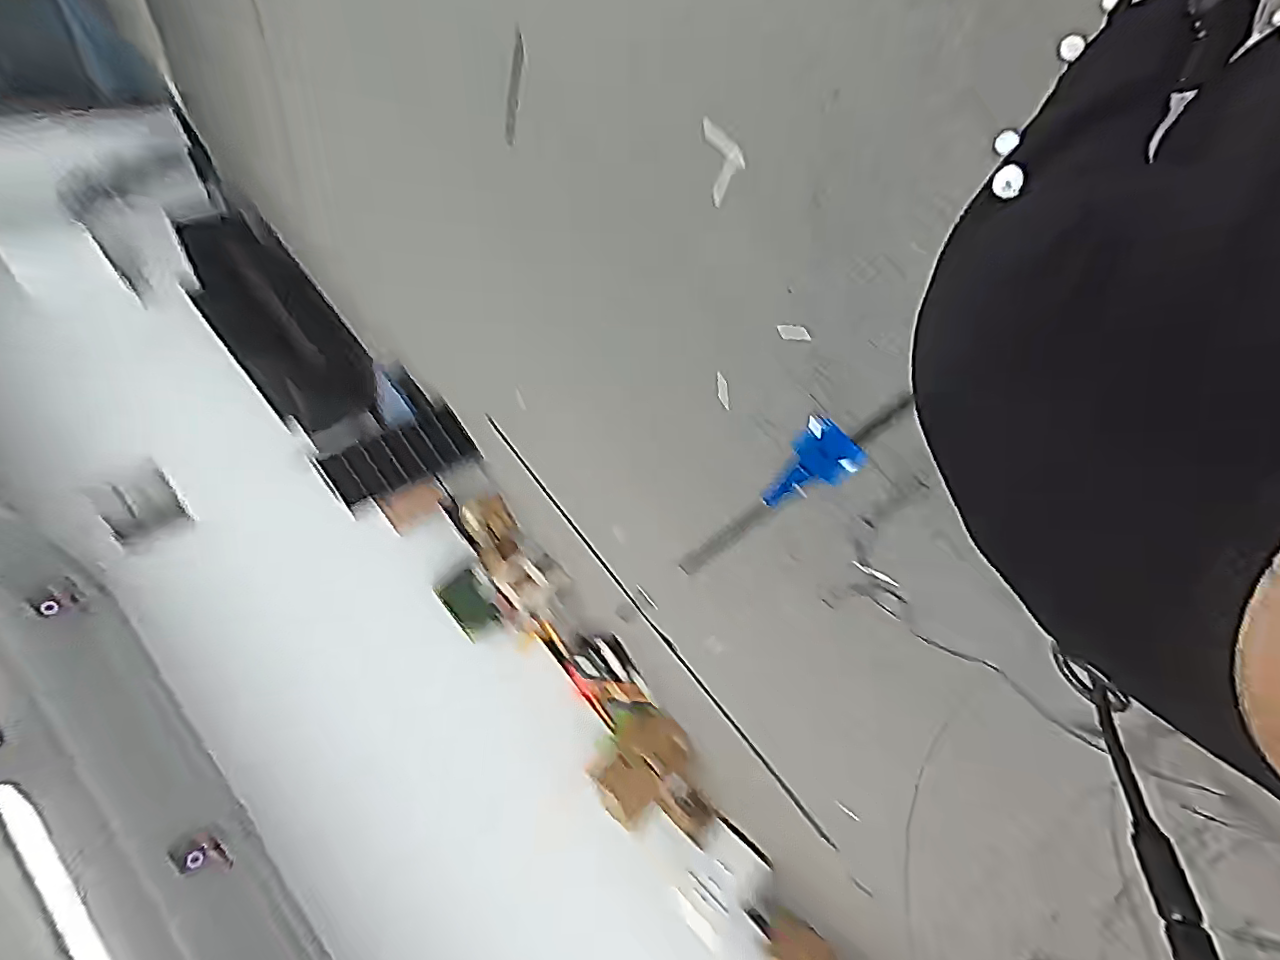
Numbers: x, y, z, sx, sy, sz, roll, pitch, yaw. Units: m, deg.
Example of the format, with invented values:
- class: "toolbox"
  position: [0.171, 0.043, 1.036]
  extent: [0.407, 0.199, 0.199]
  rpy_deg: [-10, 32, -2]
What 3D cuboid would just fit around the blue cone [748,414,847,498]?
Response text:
- class: "blue cone"
  position: [0.480, -0.037, 1.740]
  extent: [0.192, 0.380, 0.193]
  rpy_deg: [50, 145, 12]
